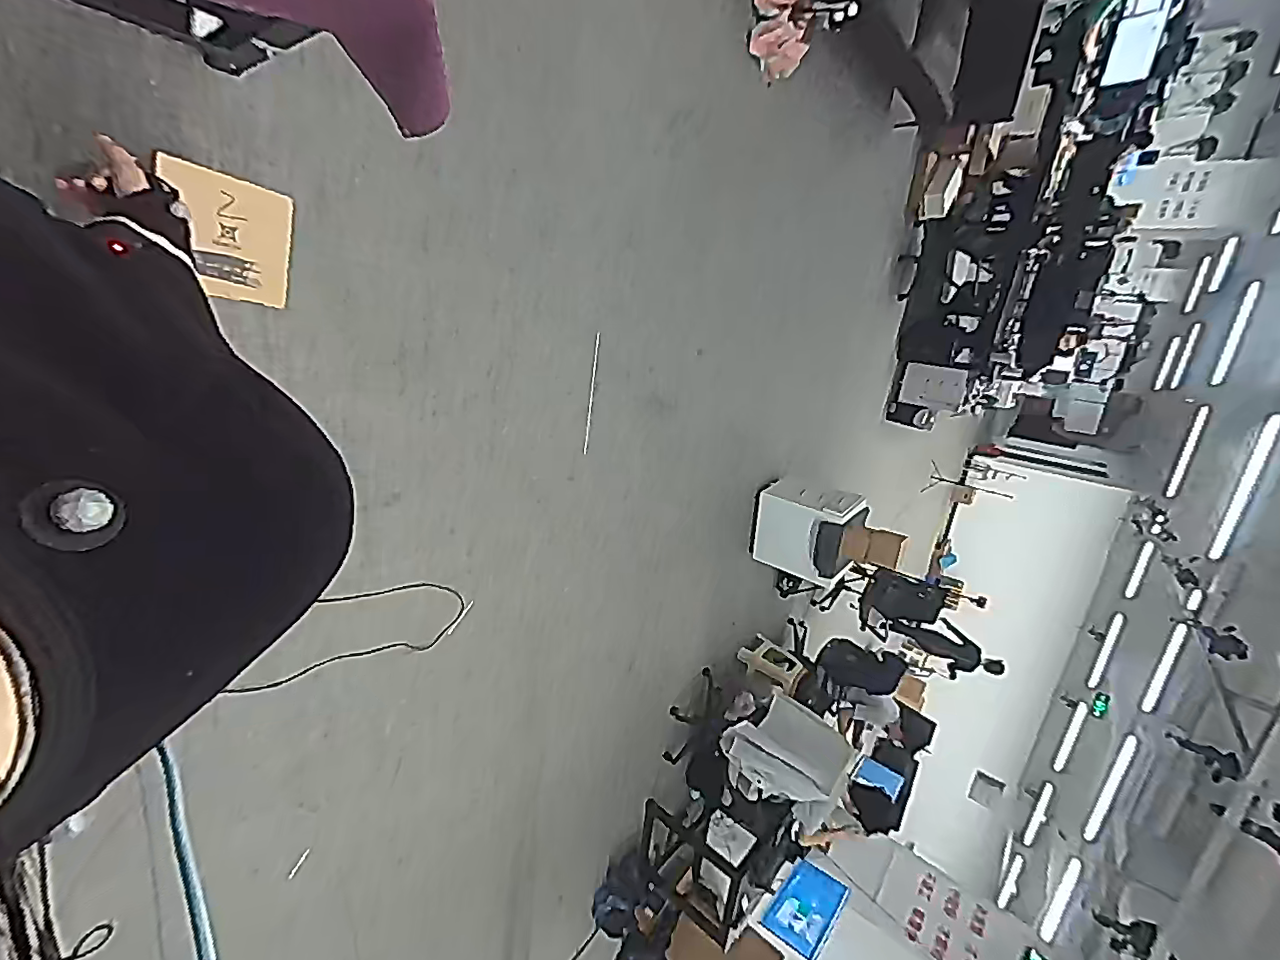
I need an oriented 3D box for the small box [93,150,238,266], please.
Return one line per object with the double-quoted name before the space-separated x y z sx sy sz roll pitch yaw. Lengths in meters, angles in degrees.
"small box" -0.912 -0.517 1.044 0.179 0.176 0.168 -12 116 -48
